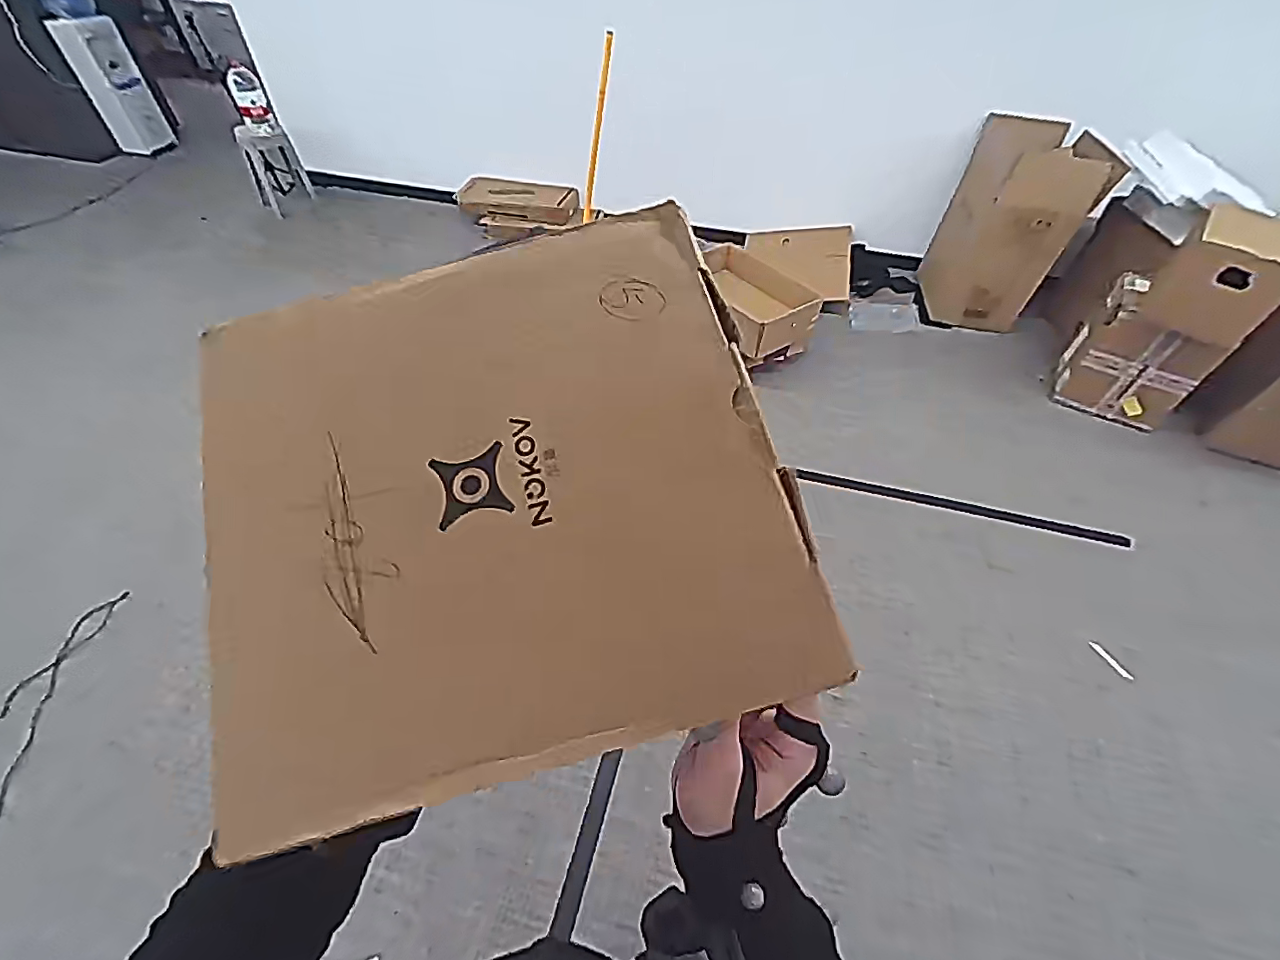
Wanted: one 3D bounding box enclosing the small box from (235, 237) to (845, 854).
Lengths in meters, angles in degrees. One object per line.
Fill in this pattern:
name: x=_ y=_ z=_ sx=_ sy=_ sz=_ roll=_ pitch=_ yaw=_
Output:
small box: x=-0.038 y=0.030 z=0.255 sx=0.179 sy=0.176 sz=0.168 roll=-19 pitch=72 yaw=0
